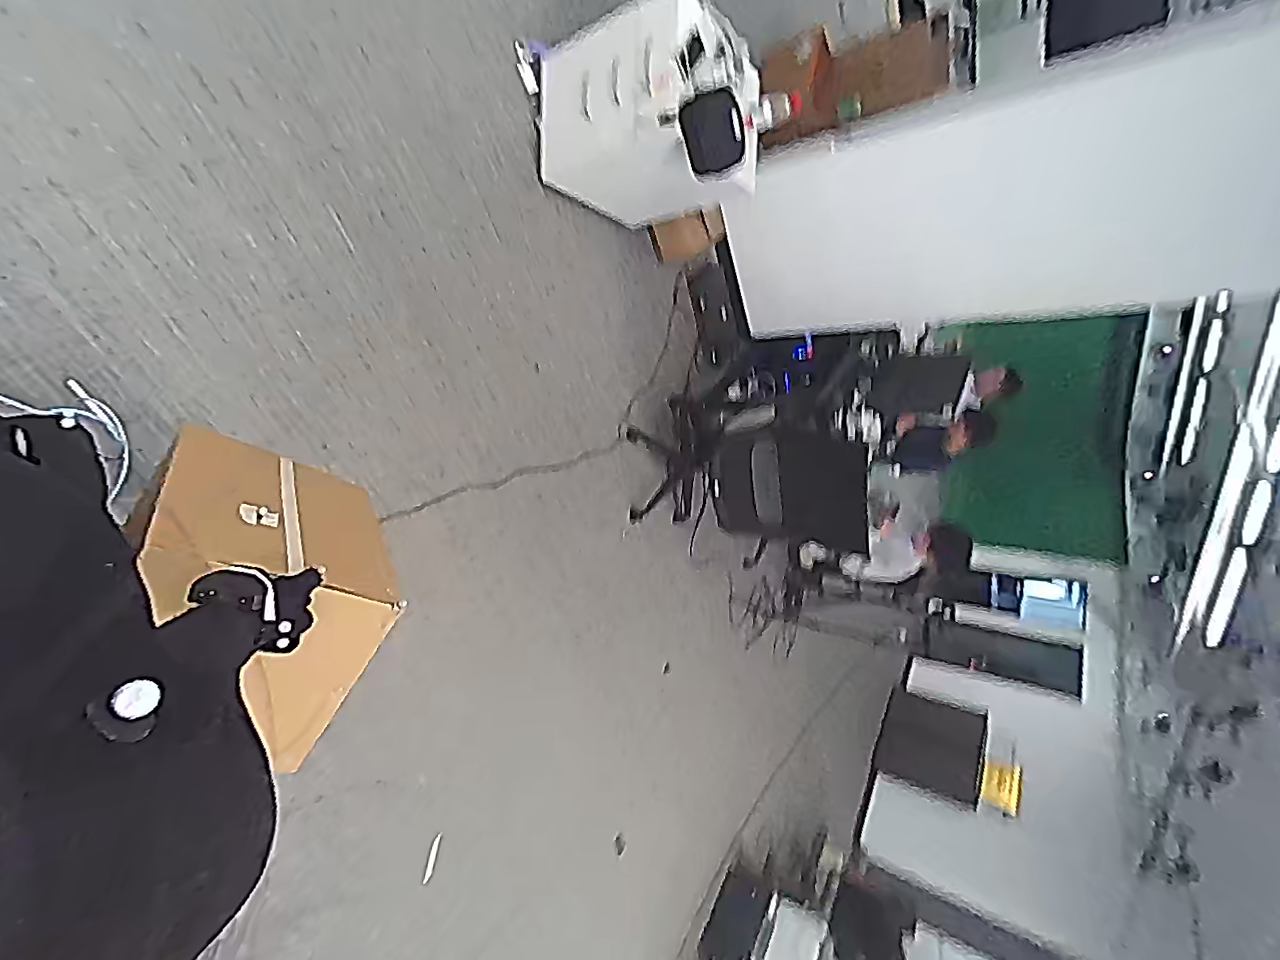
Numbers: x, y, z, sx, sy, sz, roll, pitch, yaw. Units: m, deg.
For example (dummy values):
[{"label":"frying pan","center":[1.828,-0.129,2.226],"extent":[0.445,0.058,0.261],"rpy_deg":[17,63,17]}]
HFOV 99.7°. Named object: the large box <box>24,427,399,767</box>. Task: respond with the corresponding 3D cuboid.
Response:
[{"label":"large box","center":[-0.644,0.175,0.861],"extent":[0.320,0.408,0.320],"rpy_deg":[29,97,-41]}]
